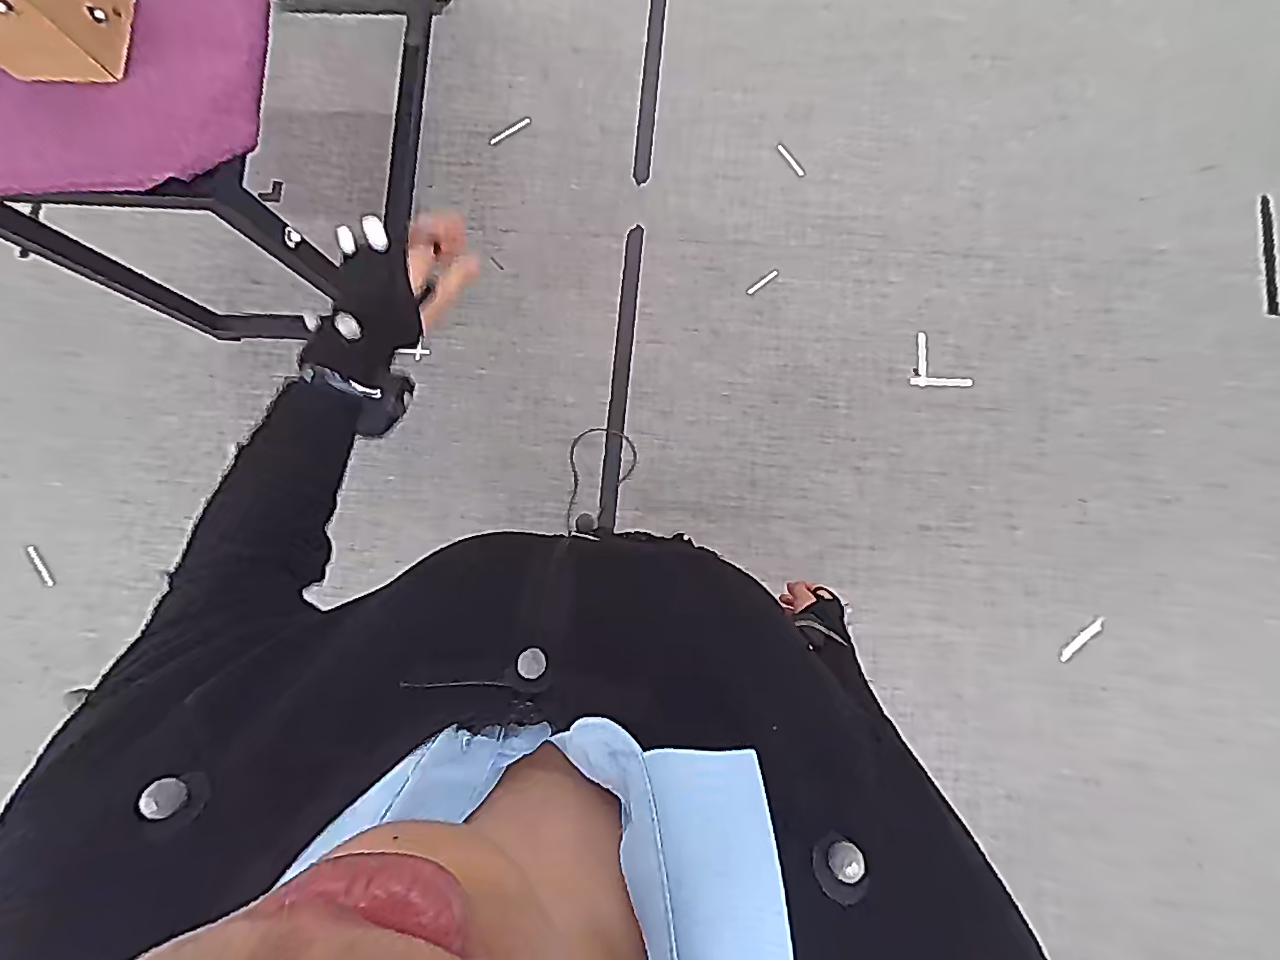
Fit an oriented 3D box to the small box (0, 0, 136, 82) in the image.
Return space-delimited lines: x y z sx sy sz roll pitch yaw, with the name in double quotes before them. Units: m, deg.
"small box" -0.935 -0.743 0.817 0.179 0.176 0.168 2 83 0
